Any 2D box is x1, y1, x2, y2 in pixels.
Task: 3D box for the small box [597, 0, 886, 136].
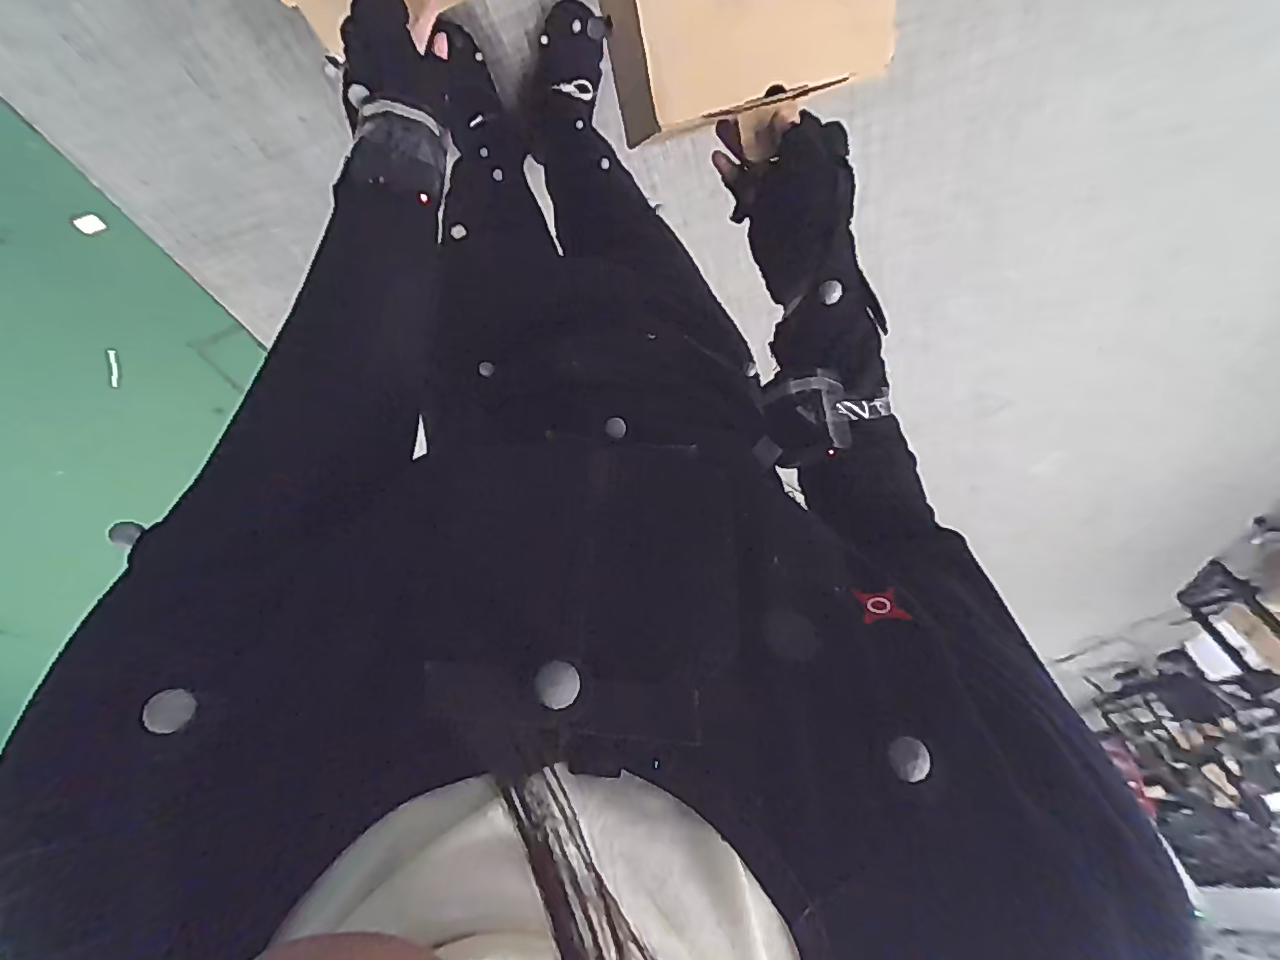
[{"bbox_3d":[0.059,-0.369,0.396,0.168,0.176,0.179,-16,120,-1],"label":"small box"}]
